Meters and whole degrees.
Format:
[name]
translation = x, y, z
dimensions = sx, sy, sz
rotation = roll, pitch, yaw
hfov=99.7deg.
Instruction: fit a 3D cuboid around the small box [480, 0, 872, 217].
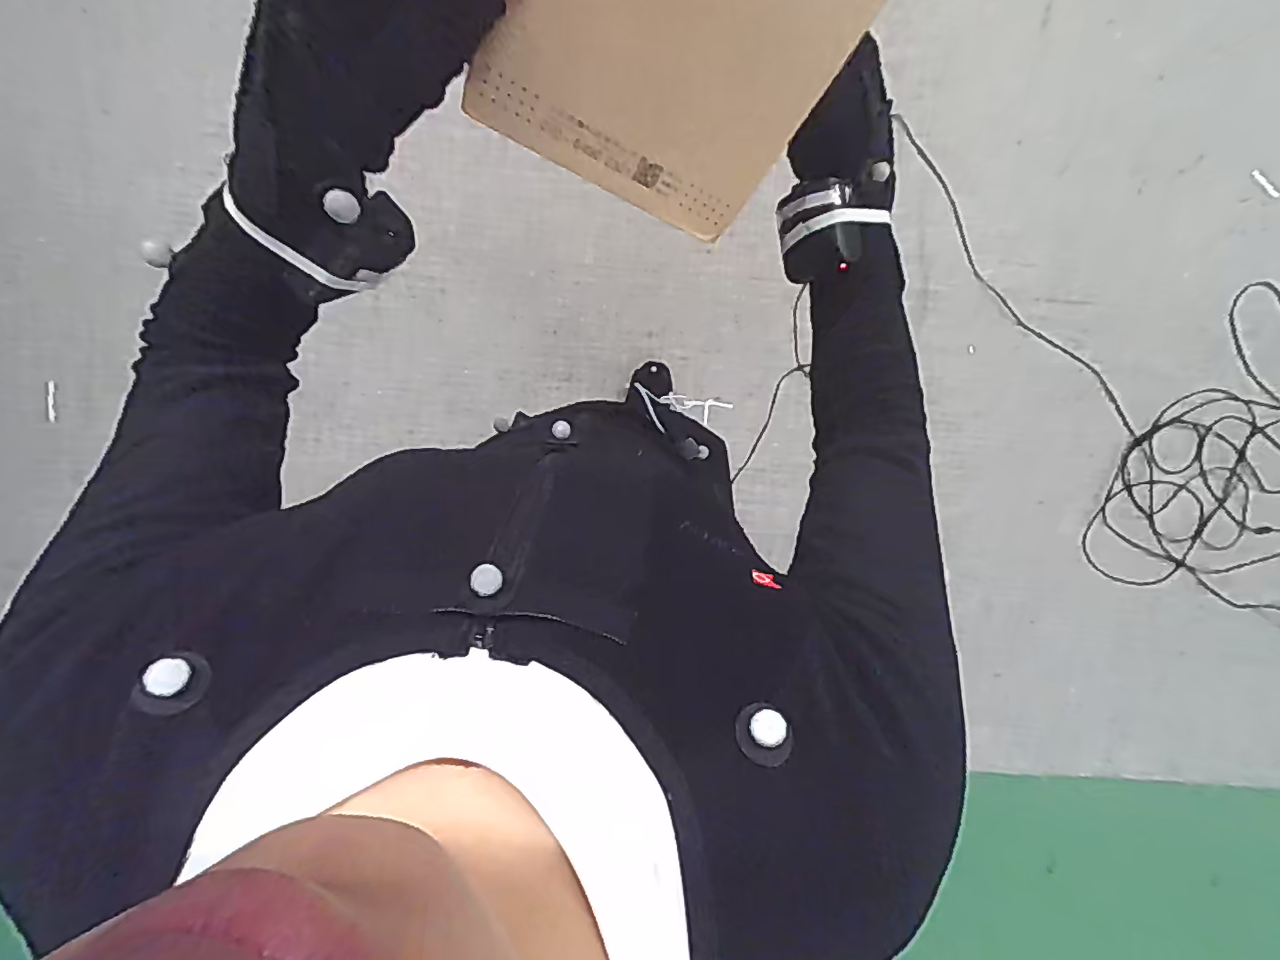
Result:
[small box]
translation = 0.020, -0.298, 0.312
dimensions = 0.168, 0.176, 0.179
rotation = 18, 51, -21
